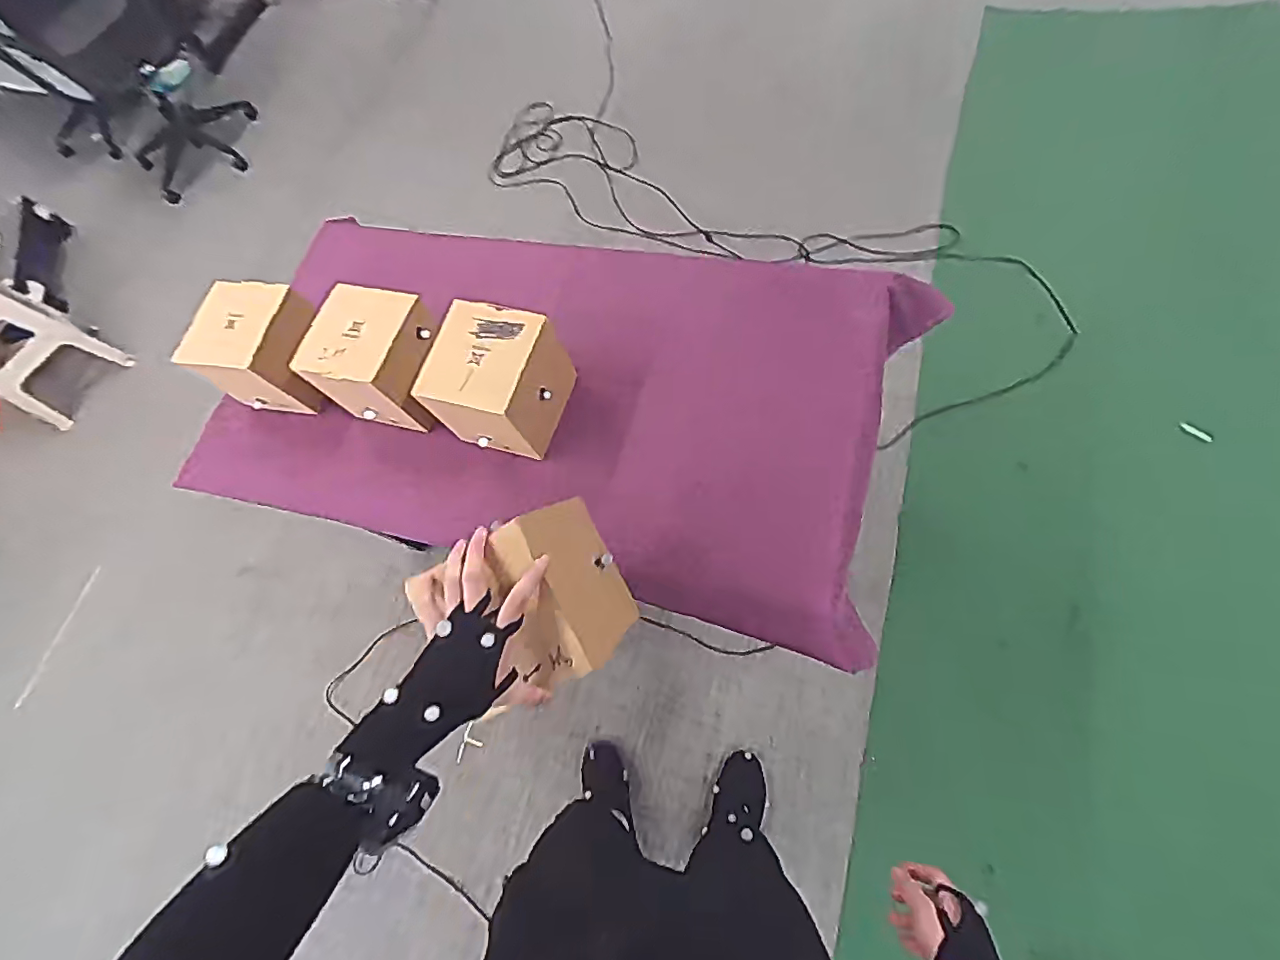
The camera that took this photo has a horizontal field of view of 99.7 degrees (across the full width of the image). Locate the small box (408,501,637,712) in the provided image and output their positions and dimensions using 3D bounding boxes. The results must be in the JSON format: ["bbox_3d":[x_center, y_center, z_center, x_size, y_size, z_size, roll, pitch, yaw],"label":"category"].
[{"bbox_3d":[-0.127,0.134,0.641,0.168,0.176,0.179,-27,88,19],"label":"small box"}]

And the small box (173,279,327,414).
[{"bbox_3d":[-0.690,-0.244,1.005,0.168,0.176,0.179,8,71,14],"label":"small box"}]

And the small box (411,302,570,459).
[{"bbox_3d":[-0.229,-0.158,0.886,0.168,0.176,0.179,15,73,16],"label":"small box"}]

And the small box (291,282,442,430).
[{"bbox_3d":[-0.449,-0.212,0.947,0.168,0.176,0.179,13,72,15],"label":"small box"}]
